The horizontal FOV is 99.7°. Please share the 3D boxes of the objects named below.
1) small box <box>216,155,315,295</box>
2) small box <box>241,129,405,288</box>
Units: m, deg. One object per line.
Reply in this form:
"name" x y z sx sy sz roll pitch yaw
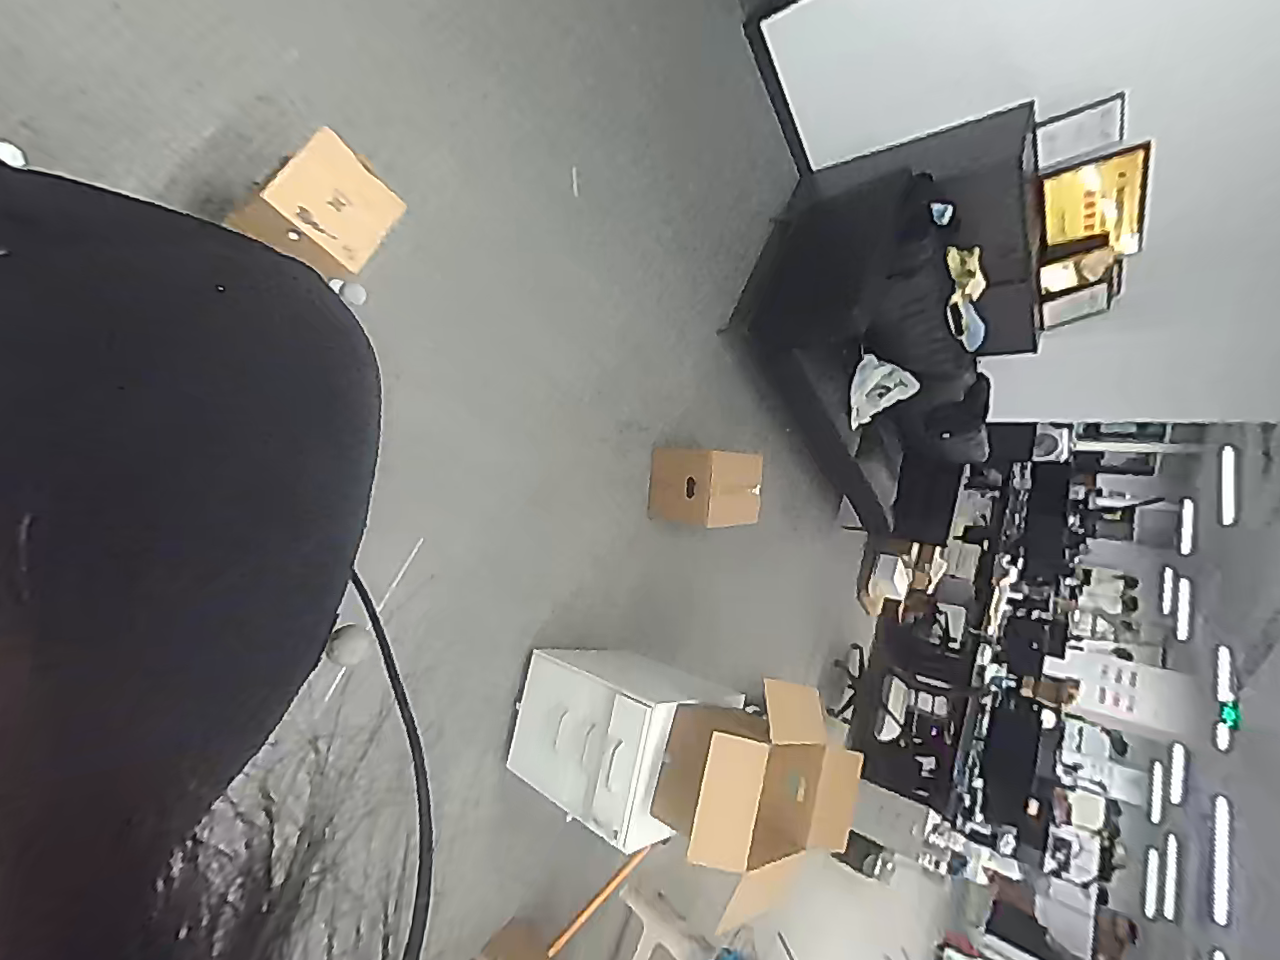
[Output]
"small box" -0.696 -0.497 1.075 0.168 0.176 0.179 43 64 -42
"small box" -0.571 -0.476 0.971 0.168 0.176 0.179 43 62 -42
